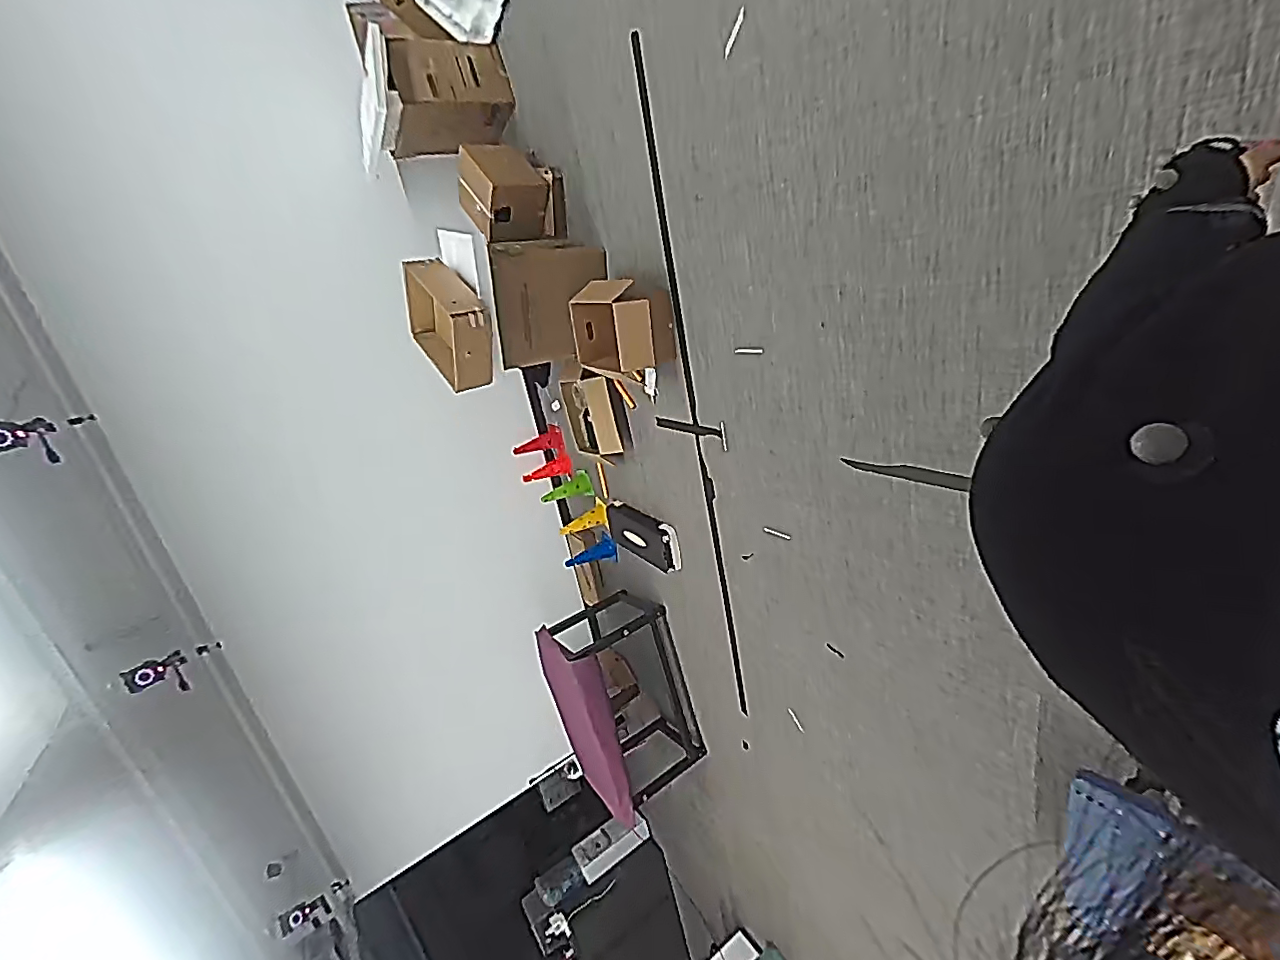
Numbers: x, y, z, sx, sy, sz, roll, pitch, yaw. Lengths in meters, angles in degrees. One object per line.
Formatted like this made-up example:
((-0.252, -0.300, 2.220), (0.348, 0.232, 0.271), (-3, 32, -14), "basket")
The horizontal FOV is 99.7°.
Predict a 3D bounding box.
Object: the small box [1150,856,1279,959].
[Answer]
((1.270, 0.995, 1.191), (0.168, 0.176, 0.179), (17, 124, 56), "small box")
